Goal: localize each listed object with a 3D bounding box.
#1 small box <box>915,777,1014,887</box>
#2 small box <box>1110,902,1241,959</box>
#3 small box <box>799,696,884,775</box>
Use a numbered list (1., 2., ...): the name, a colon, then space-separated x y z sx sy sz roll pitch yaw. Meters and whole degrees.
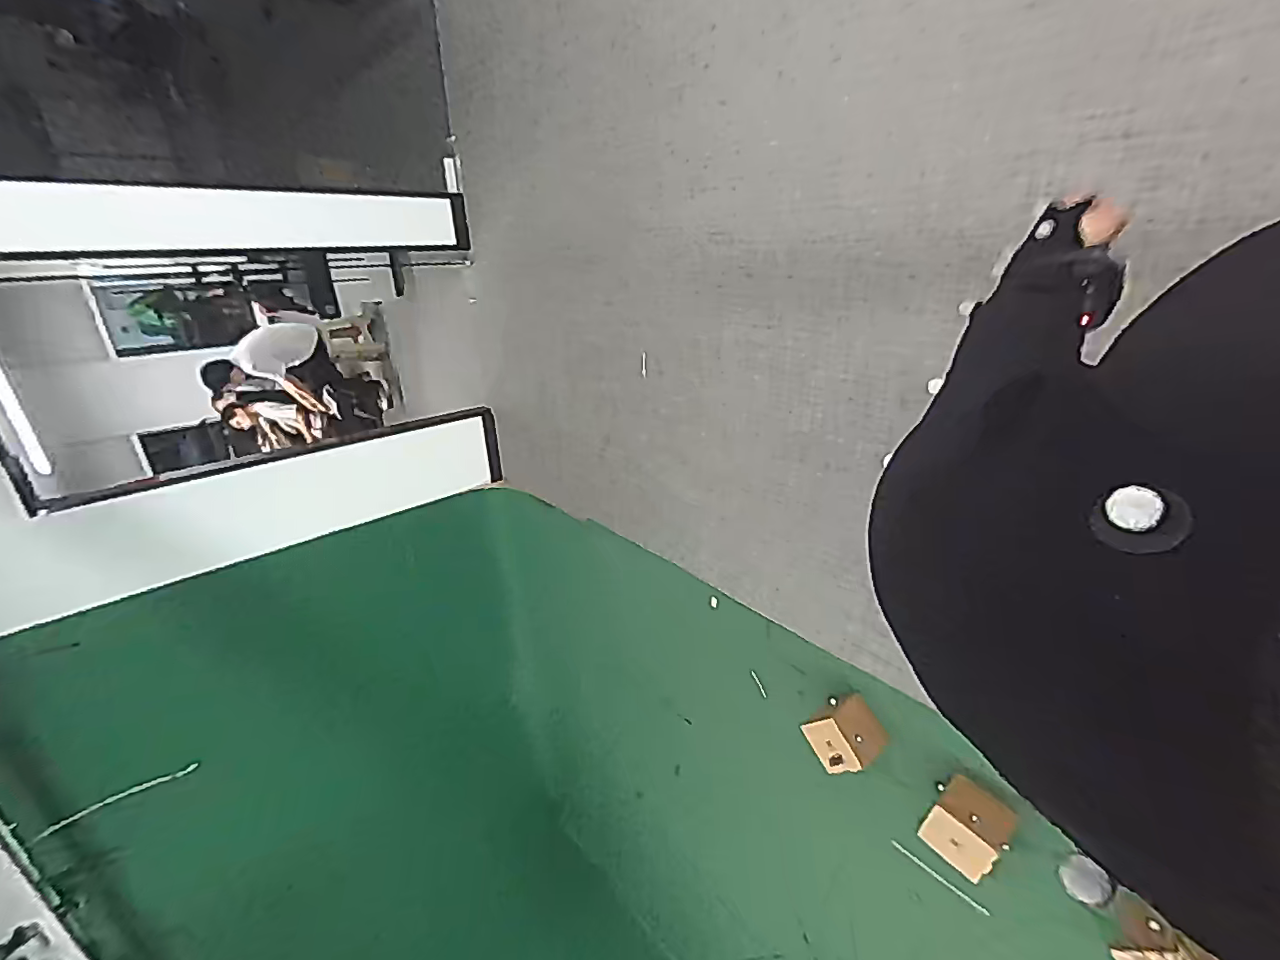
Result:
1. small box: 0.955 1.023 1.588 0.179 0.176 0.168 33 128 40
2. small box: 1.261 1.128 1.261 0.168 0.176 0.179 53 139 20
3. small box: 0.689 0.869 1.843 0.179 0.176 0.168 59 141 16
